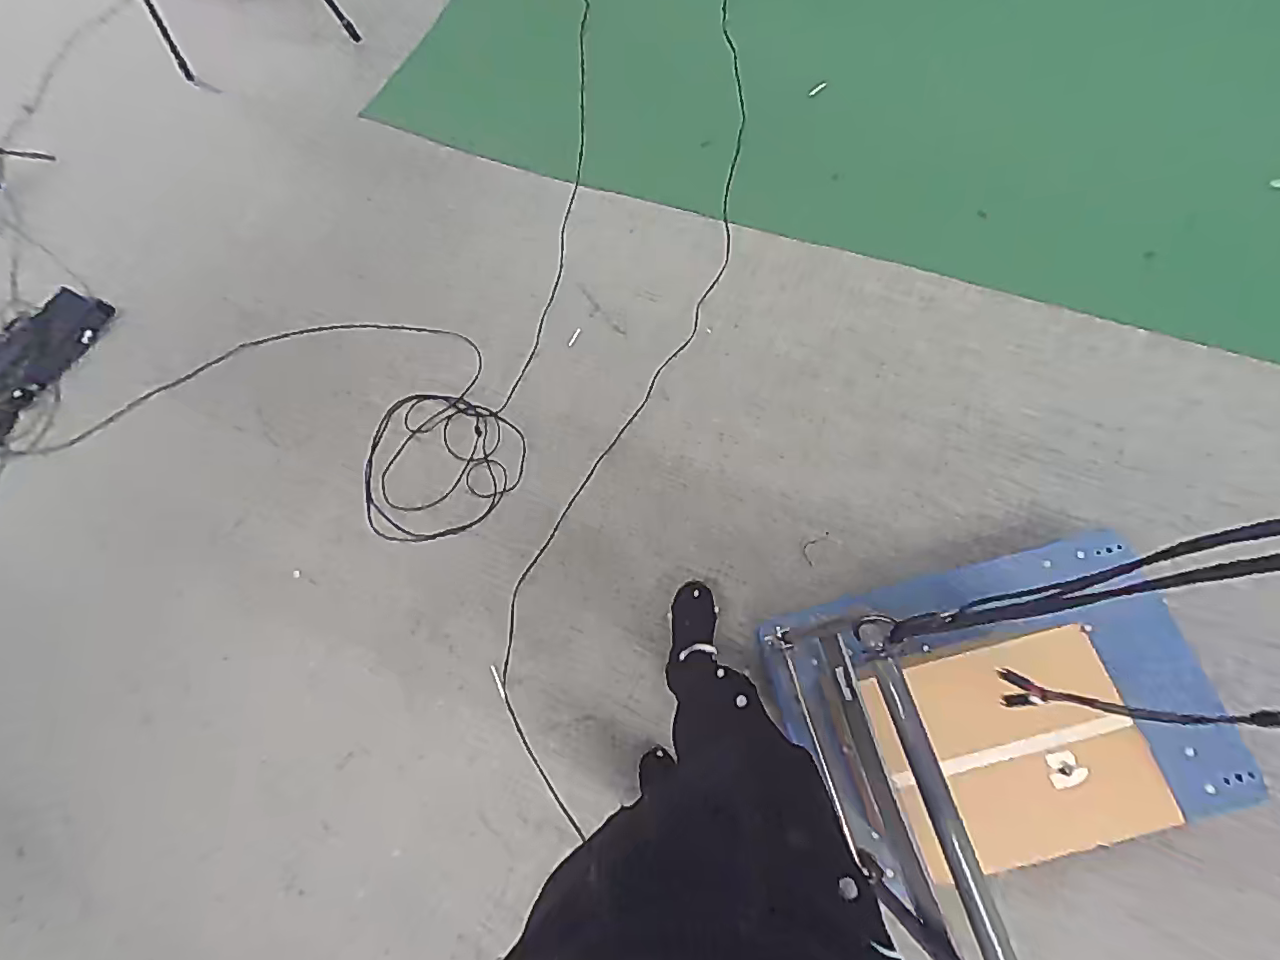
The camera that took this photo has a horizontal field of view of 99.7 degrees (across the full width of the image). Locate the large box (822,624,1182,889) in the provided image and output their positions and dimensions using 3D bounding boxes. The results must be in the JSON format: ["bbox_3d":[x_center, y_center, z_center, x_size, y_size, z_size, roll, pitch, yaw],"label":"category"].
[{"bbox_3d":[0.614,0.487,1.014,0.408,0.320,0.320,-15,71,1],"label":"large box"}]
